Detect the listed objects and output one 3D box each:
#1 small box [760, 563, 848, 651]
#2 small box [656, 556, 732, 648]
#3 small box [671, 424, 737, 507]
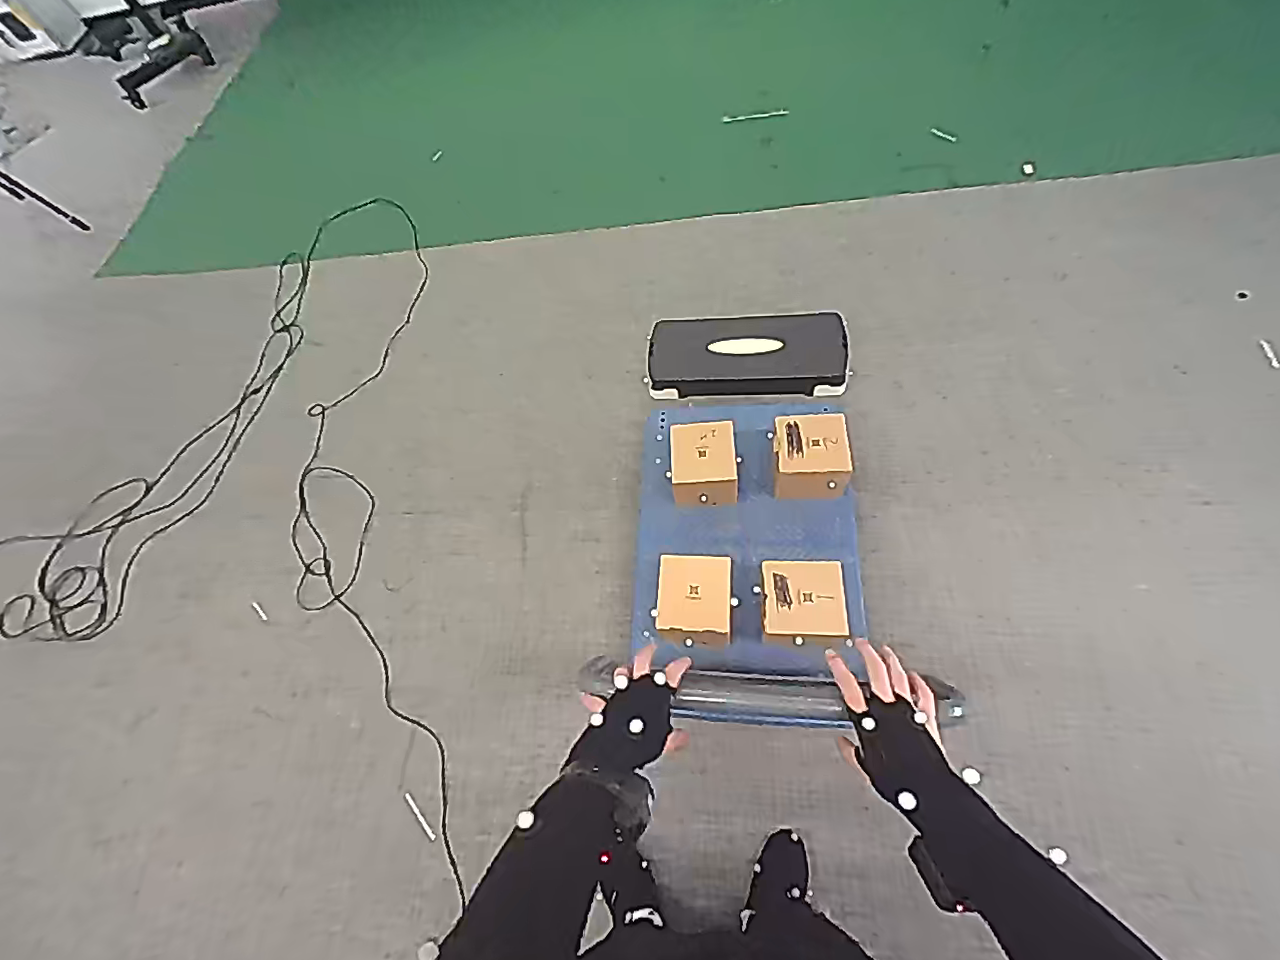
[{"bbox_3d":[0.371,0.299,1.260,0.179,0.176,0.168,0,64,8],"label":"small box"},{"bbox_3d":[0.133,0.296,1.303,0.168,0.176,0.179,2,65,9],"label":"small box"},{"bbox_3d":[0.174,-0.031,1.459,0.168,0.176,0.179,-3,64,7],"label":"small box"}]
